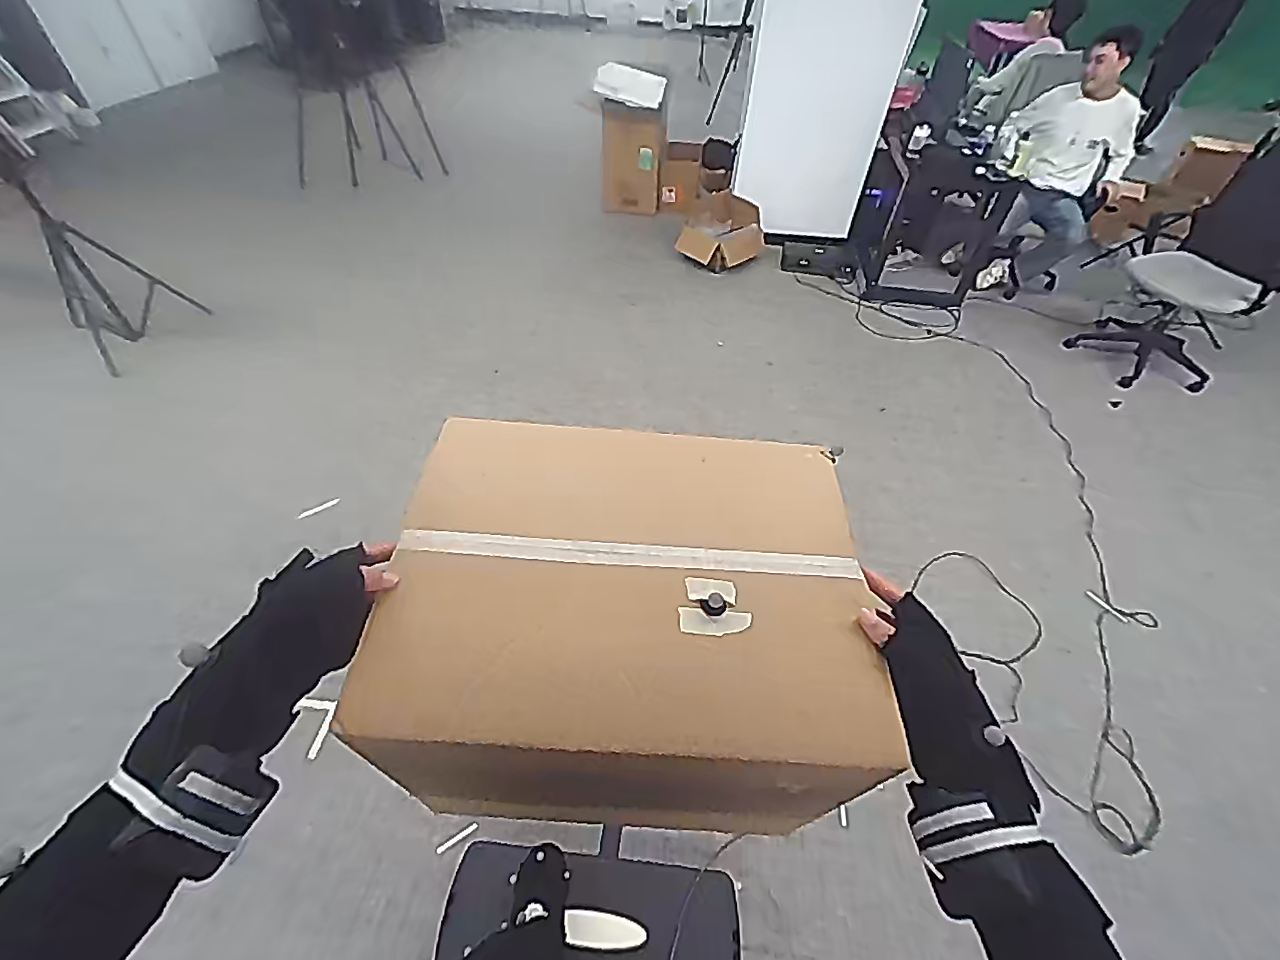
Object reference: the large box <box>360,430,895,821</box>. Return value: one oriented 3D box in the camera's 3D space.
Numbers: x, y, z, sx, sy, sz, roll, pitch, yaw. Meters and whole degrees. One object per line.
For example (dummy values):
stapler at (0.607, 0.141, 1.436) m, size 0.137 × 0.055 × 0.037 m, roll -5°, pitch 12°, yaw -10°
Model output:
large box at (-0.014, 0.170, 0.601) m, size 0.408 × 0.320 × 0.320 m, roll 4°, pitch 50°, yaw -2°
